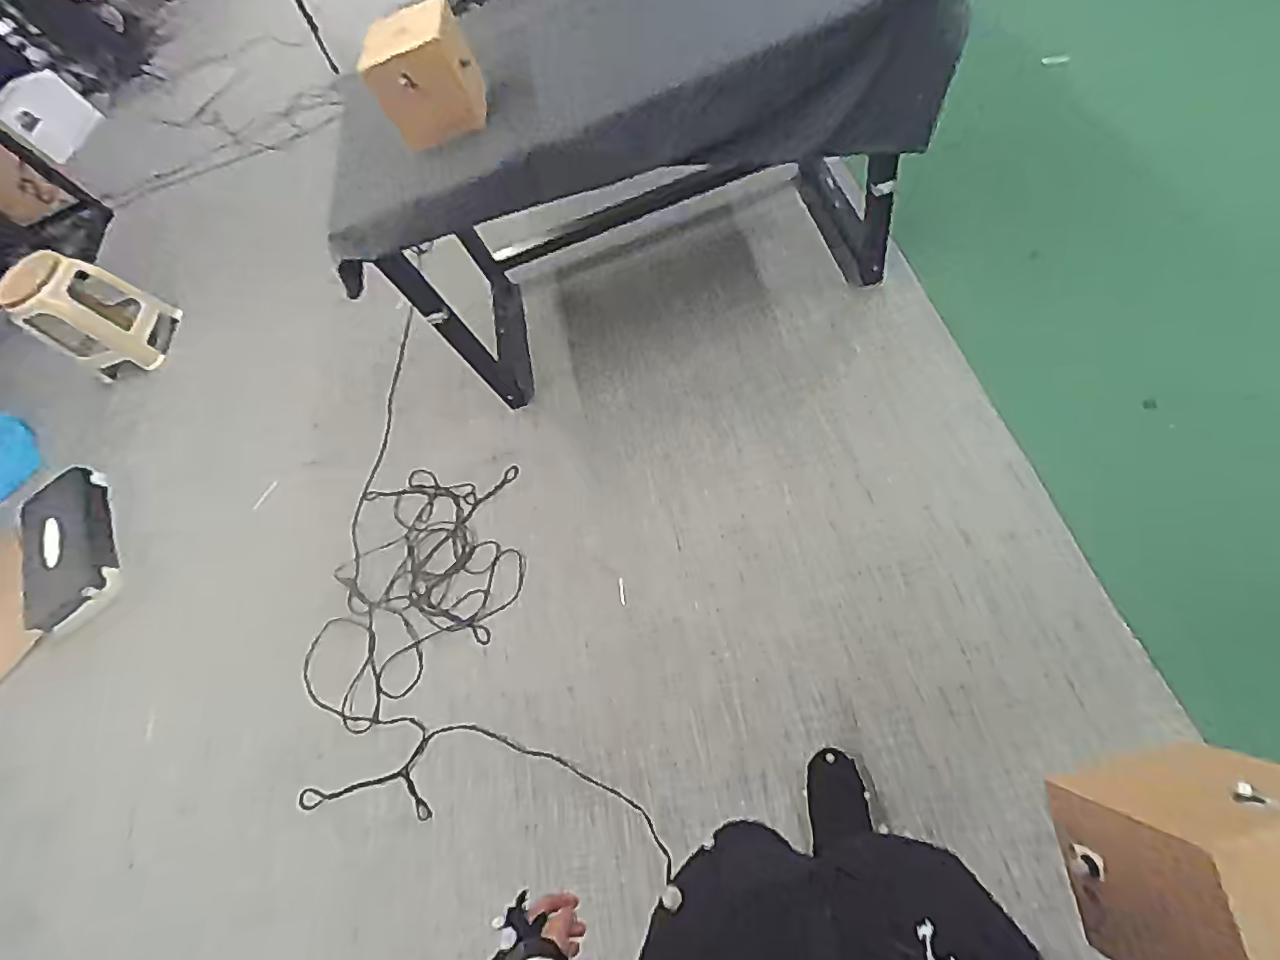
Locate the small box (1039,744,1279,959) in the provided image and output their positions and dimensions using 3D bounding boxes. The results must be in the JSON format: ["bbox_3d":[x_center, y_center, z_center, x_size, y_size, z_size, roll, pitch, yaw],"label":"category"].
[{"bbox_3d":[0.524,0.361,0.491,0.179,0.176,0.168,-10,79,-7],"label":"small box"}]

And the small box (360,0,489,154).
[{"bbox_3d":[-0.422,-0.804,1.089,0.179,0.176,0.168,-12,62,12],"label":"small box"}]
